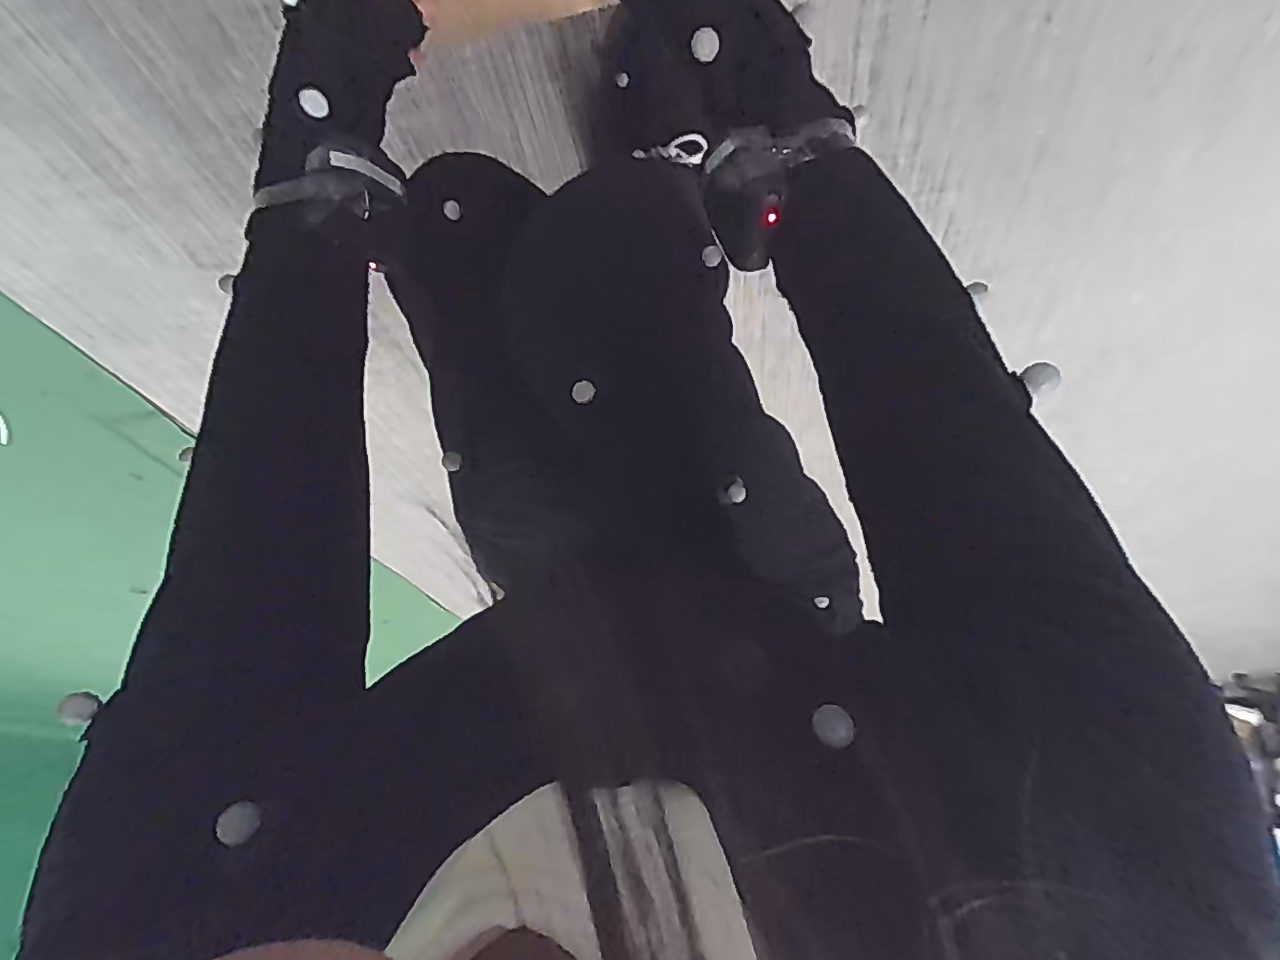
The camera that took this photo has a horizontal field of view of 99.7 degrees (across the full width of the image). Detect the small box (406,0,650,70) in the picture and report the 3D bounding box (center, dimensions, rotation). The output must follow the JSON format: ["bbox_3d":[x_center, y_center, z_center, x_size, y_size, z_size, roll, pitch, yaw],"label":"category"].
[{"bbox_3d":[-0.097,-0.444,0.387,0.179,0.176,0.168,-10,145,9],"label":"small box"}]

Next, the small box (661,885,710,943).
[{"bbox_3d":[0.178,1.701,2.133,0.179,0.176,0.168,-6,149,10],"label":"small box"}]

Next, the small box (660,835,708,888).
[{"bbox_3d":[0.178,1.563,2.222,0.179,0.176,0.168,-8,149,9],"label":"small box"}]
